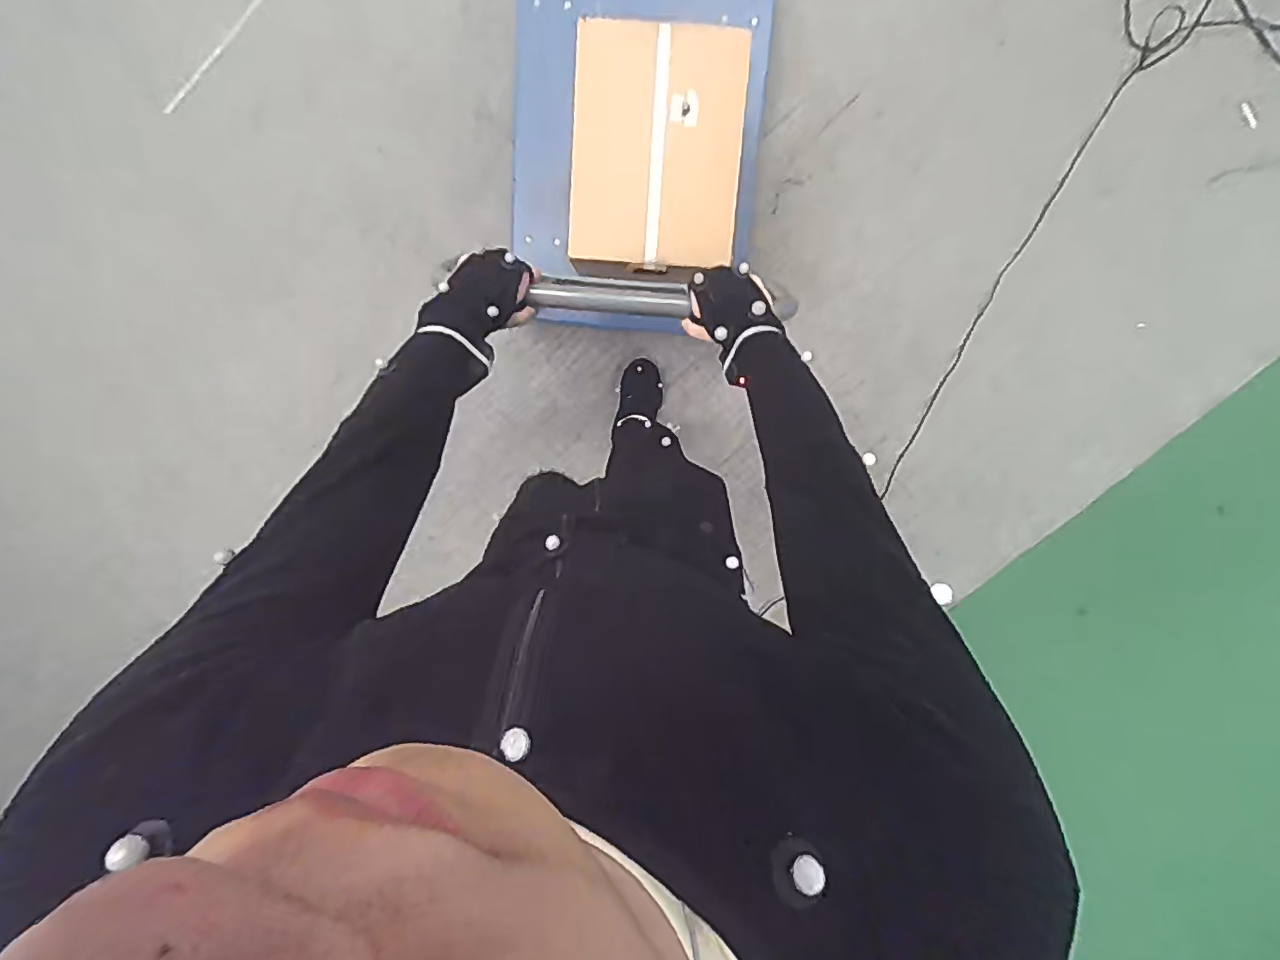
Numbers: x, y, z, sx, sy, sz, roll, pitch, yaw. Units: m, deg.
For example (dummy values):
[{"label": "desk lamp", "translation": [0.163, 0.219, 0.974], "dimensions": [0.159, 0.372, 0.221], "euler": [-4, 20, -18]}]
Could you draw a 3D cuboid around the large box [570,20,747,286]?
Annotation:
[{"label": "large box", "translation": [0.032, -0.653, 1.157], "dimensions": [0.320, 0.320, 0.408], "euler": [4, 101, -1]}]
